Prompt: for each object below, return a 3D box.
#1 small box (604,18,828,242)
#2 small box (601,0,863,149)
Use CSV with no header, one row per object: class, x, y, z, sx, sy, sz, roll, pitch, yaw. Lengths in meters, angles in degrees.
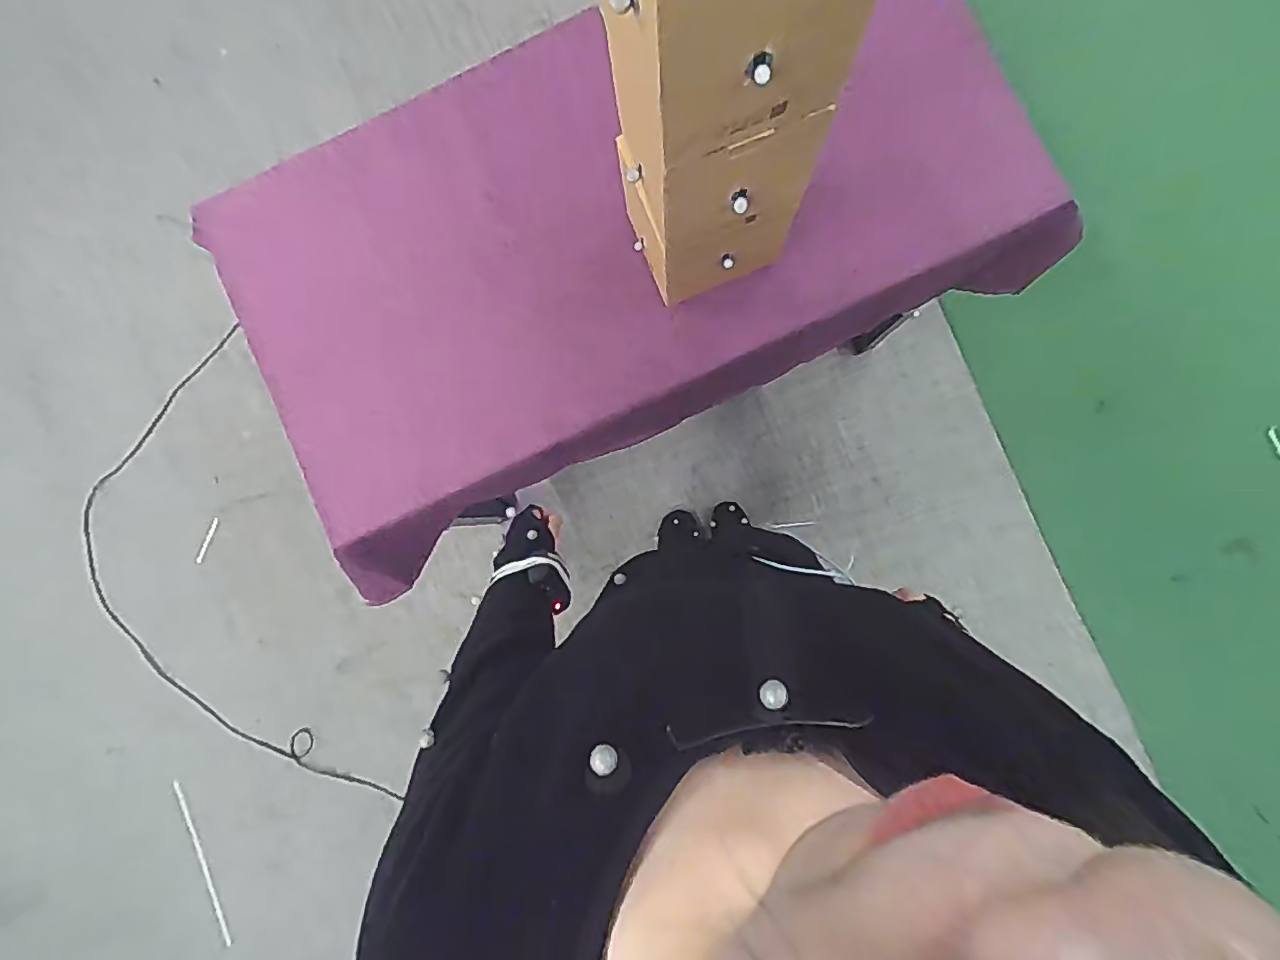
small box,0.073,-0.380,0.569,0.168,0.176,0.179,-19,86,2
small box,0.061,-0.388,0.404,0.168,0.176,0.179,-20,85,2
